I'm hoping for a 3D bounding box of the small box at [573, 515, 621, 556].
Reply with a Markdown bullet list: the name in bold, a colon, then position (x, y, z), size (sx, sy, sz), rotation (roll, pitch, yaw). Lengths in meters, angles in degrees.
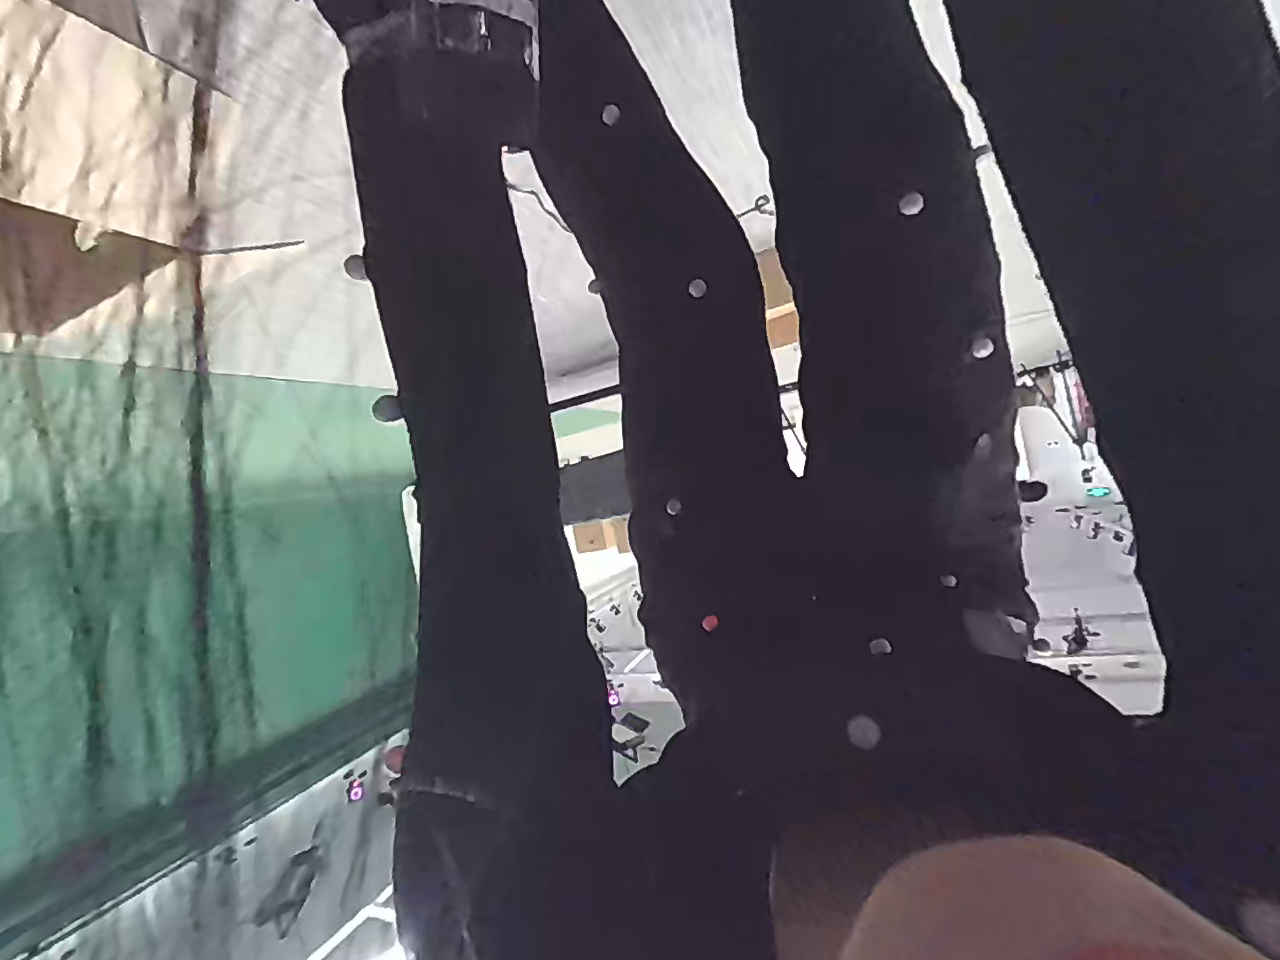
- **small box**: position (-0.217, 0.270, 2.665), size (0.179, 0.176, 0.168), rotation (-13, 178, 24)
